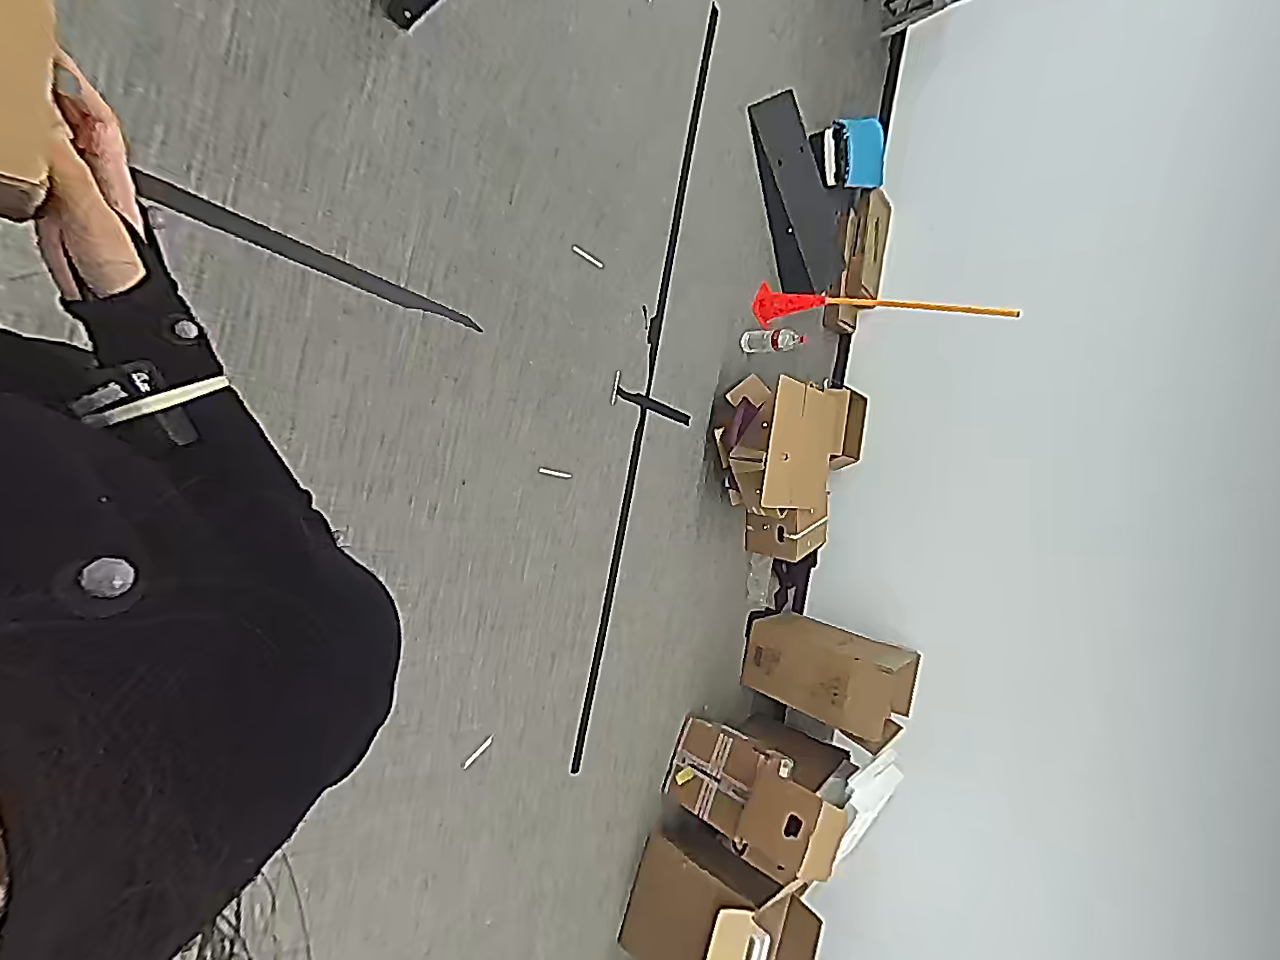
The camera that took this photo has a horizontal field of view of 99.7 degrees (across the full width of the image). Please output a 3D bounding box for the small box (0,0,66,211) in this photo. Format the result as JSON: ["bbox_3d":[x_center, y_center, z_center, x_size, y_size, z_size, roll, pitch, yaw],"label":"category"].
[{"bbox_3d":[-0.383,-0.241,0.242,0.168,0.176,0.179,2,101,-52],"label":"small box"}]
